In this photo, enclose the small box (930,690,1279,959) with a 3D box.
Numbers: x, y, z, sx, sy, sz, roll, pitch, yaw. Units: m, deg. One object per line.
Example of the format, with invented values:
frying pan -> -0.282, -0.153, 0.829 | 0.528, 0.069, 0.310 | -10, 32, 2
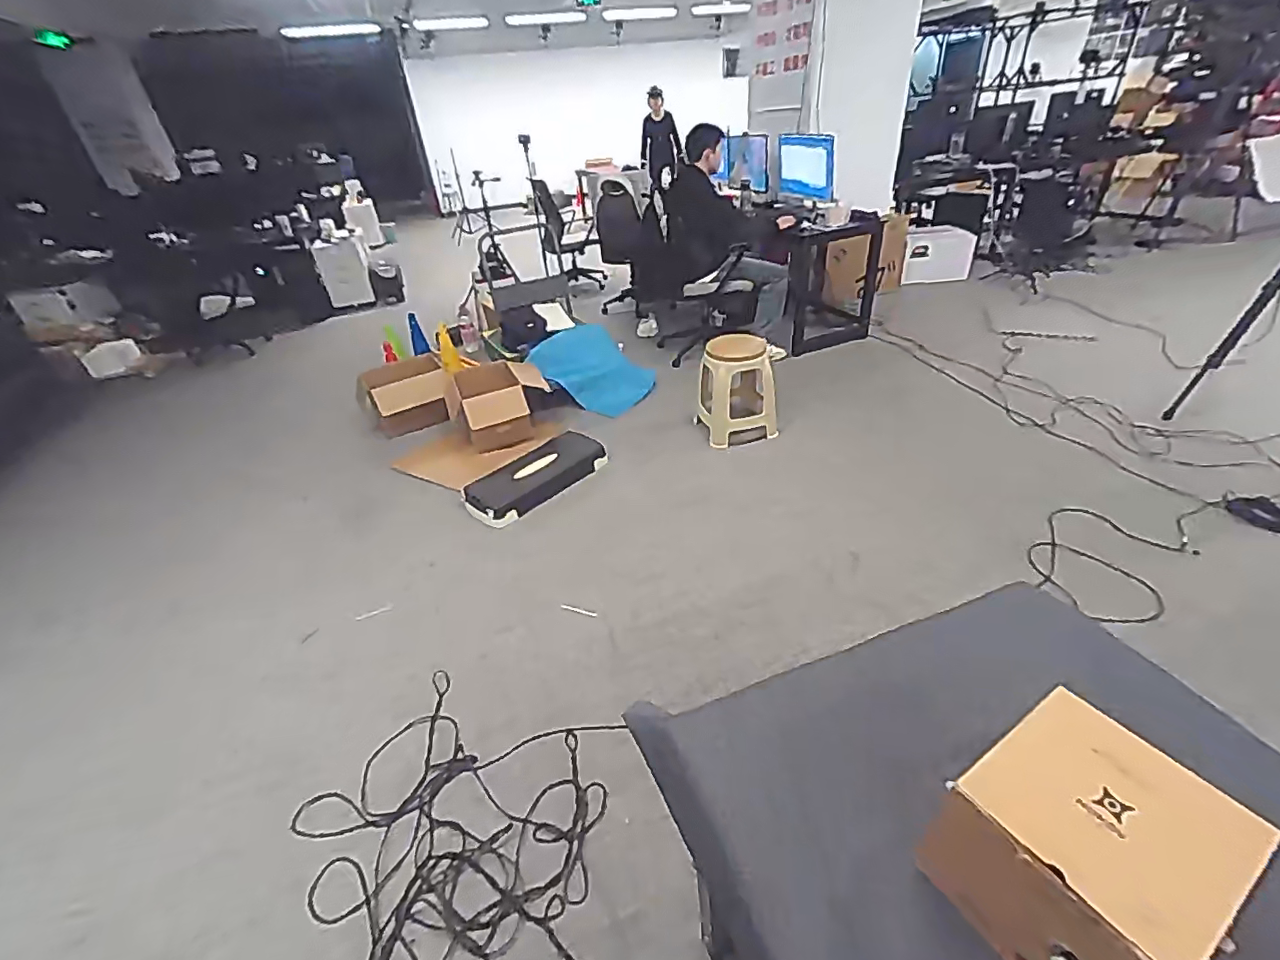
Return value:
small box -> 0.397, 0.341, 0.495 | 0.179, 0.176, 0.168 | -22, 38, -24
